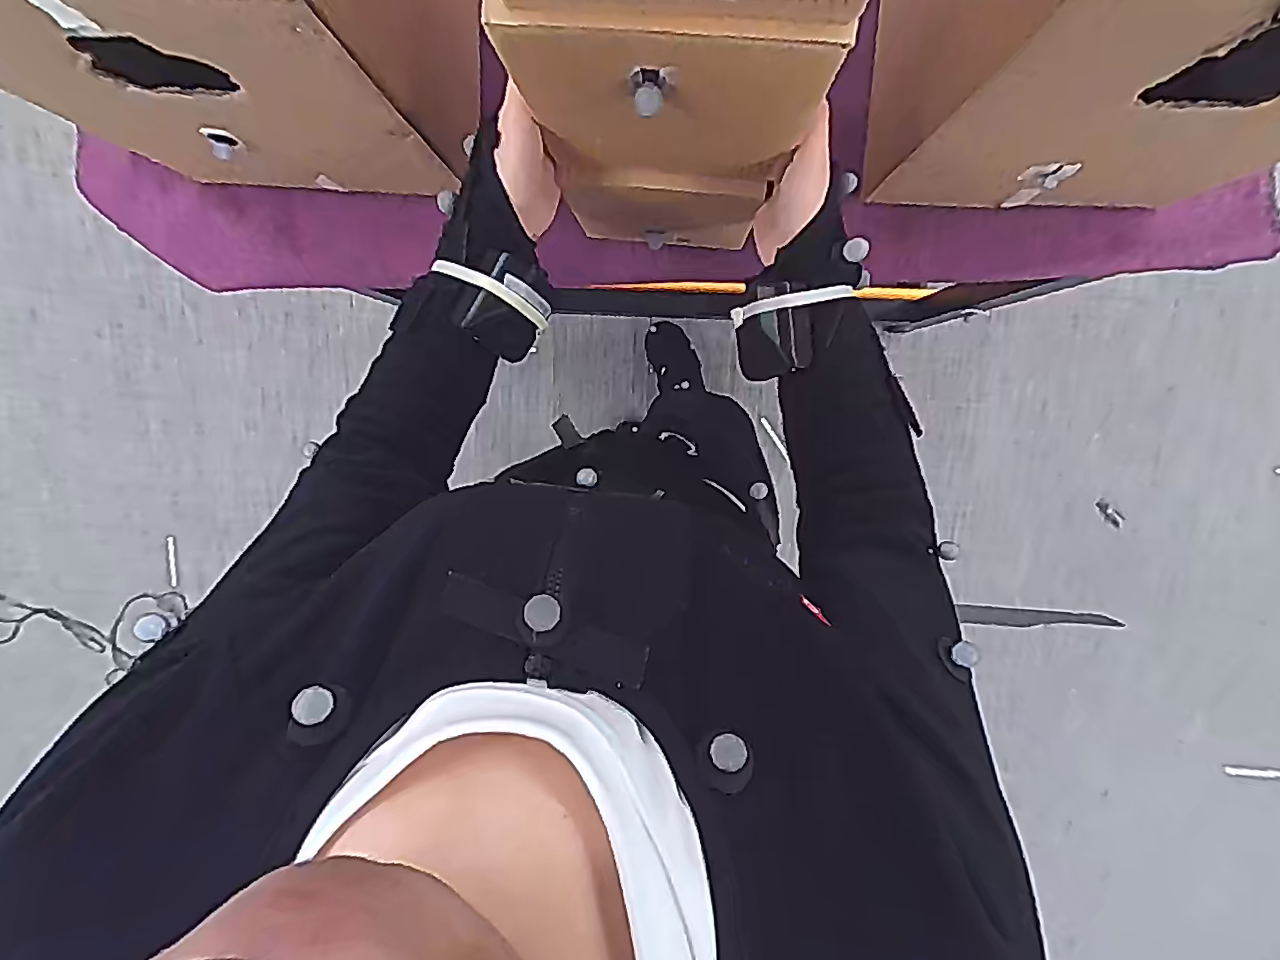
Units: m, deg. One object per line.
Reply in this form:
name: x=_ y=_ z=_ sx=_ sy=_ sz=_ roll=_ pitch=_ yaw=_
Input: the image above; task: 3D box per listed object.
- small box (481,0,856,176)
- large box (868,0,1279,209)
small box: x=0.024 y=-0.297 z=0.316 sx=0.179 sy=0.176 sz=0.168 roll=6 pitch=101 yaw=4
large box: x=0.383 y=-0.459 z=0.392 sx=0.320 sy=0.320 sz=0.408 roll=2 pitch=97 yaw=2
